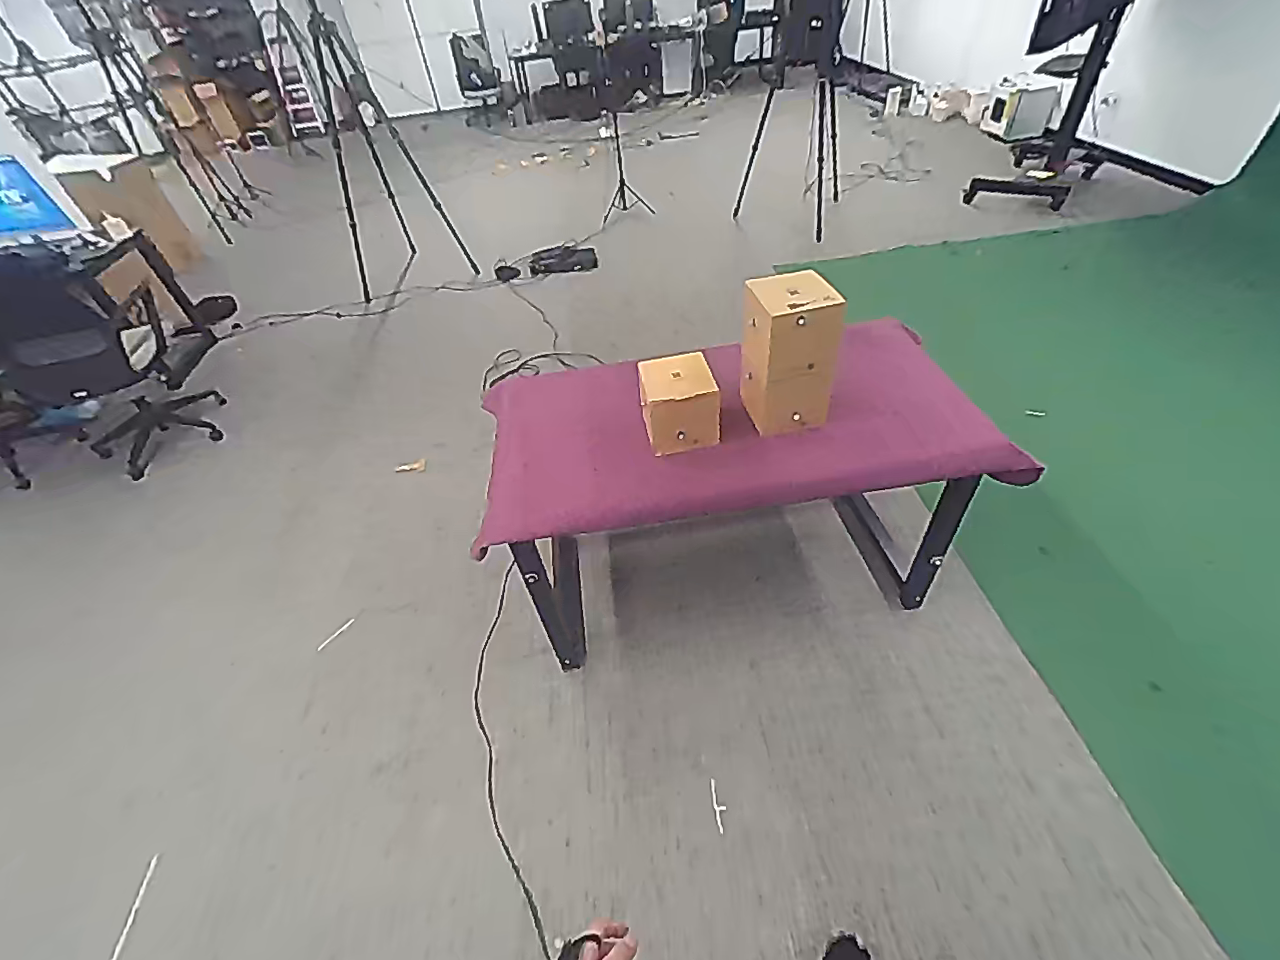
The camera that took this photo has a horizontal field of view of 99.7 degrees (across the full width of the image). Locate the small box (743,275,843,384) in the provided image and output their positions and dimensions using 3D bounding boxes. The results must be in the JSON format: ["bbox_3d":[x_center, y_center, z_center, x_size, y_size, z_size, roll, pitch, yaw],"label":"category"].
[{"bbox_3d":[0.338,-0.343,1.234,0.168,0.176,0.179,-12,43,-4],"label":"small box"}]

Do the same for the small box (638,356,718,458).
[{"bbox_3d":[0.092,-0.180,1.341,0.168,0.176,0.179,-10,45,-3],"label":"small box"}]

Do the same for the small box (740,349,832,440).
[{"bbox_3d":[0.353,-0.225,1.348,0.168,0.176,0.179,-12,45,-3],"label":"small box"}]
